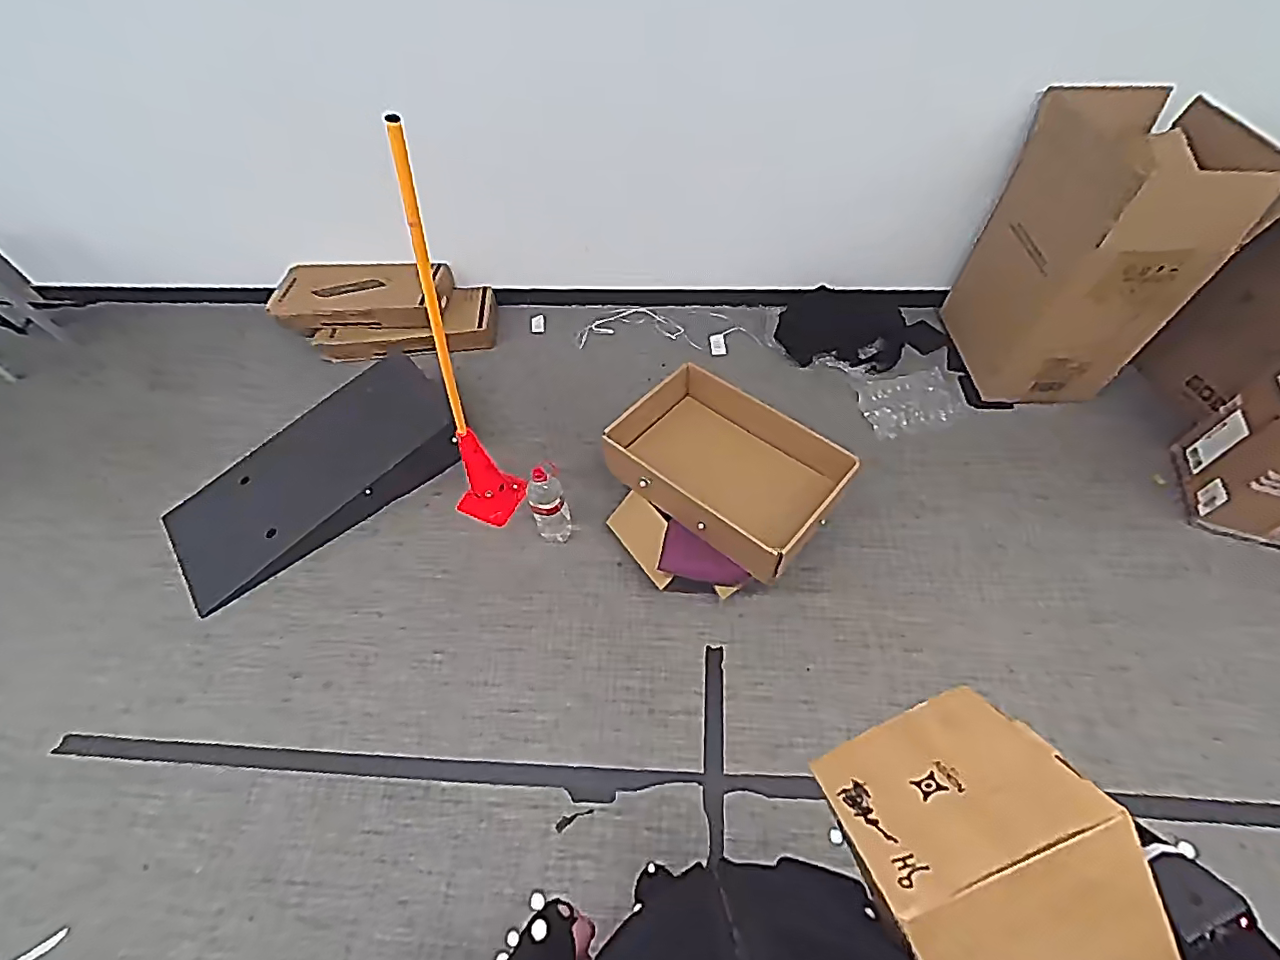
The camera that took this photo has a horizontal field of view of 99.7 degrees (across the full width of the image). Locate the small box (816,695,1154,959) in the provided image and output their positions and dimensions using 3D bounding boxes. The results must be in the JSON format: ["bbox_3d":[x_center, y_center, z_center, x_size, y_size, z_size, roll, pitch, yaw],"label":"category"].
[{"bbox_3d":[0.290,0.334,0.474,0.179,0.168,0.176,-26,99,0],"label":"small box"}]
